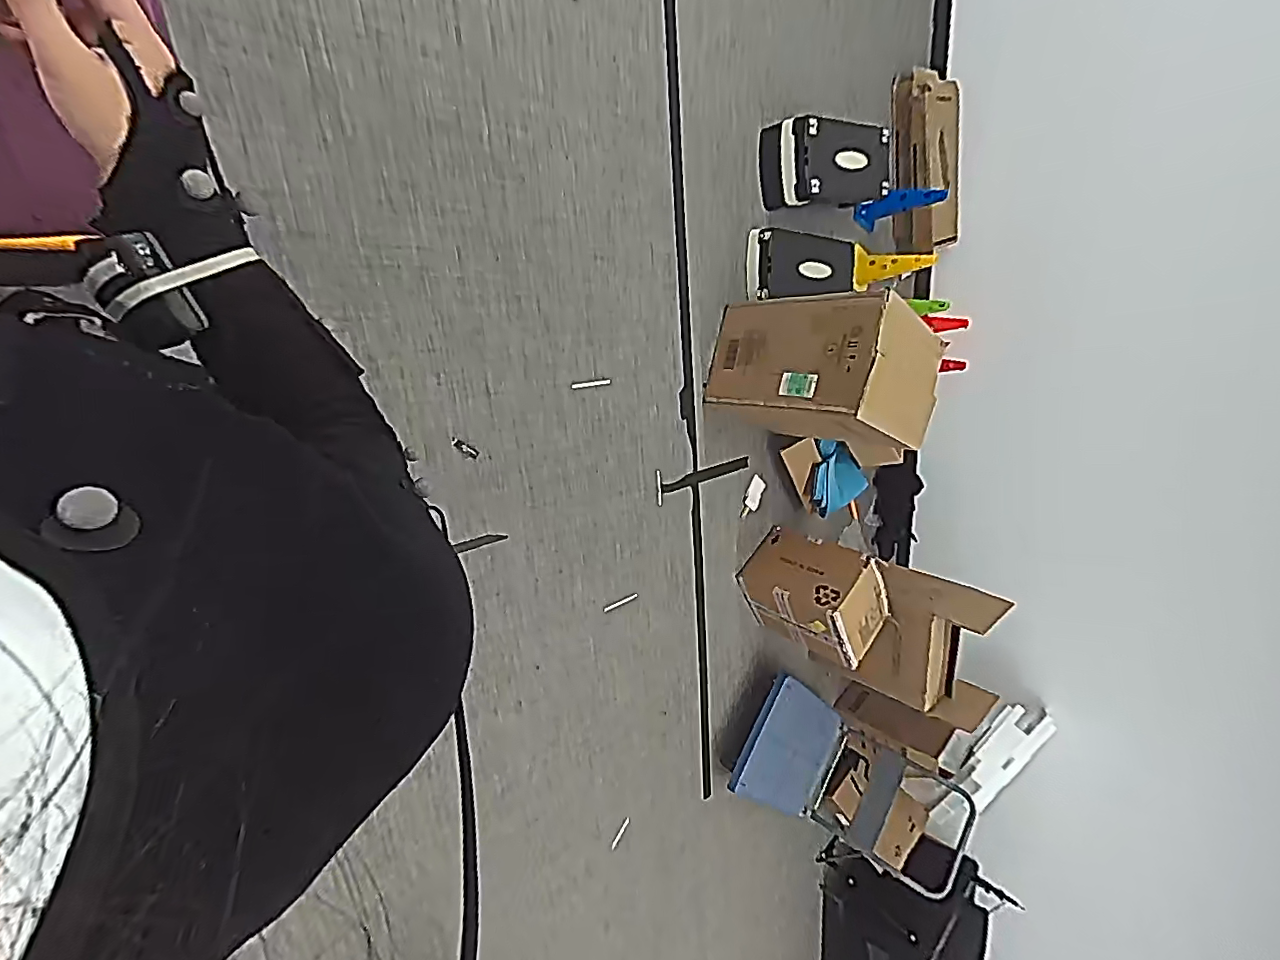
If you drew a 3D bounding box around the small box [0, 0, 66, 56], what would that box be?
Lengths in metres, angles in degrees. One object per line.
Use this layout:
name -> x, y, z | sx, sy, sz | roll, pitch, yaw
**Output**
small box -> -0.431, -0.343, 0.261 | 0.179, 0.176, 0.168 | -13, 115, -39
